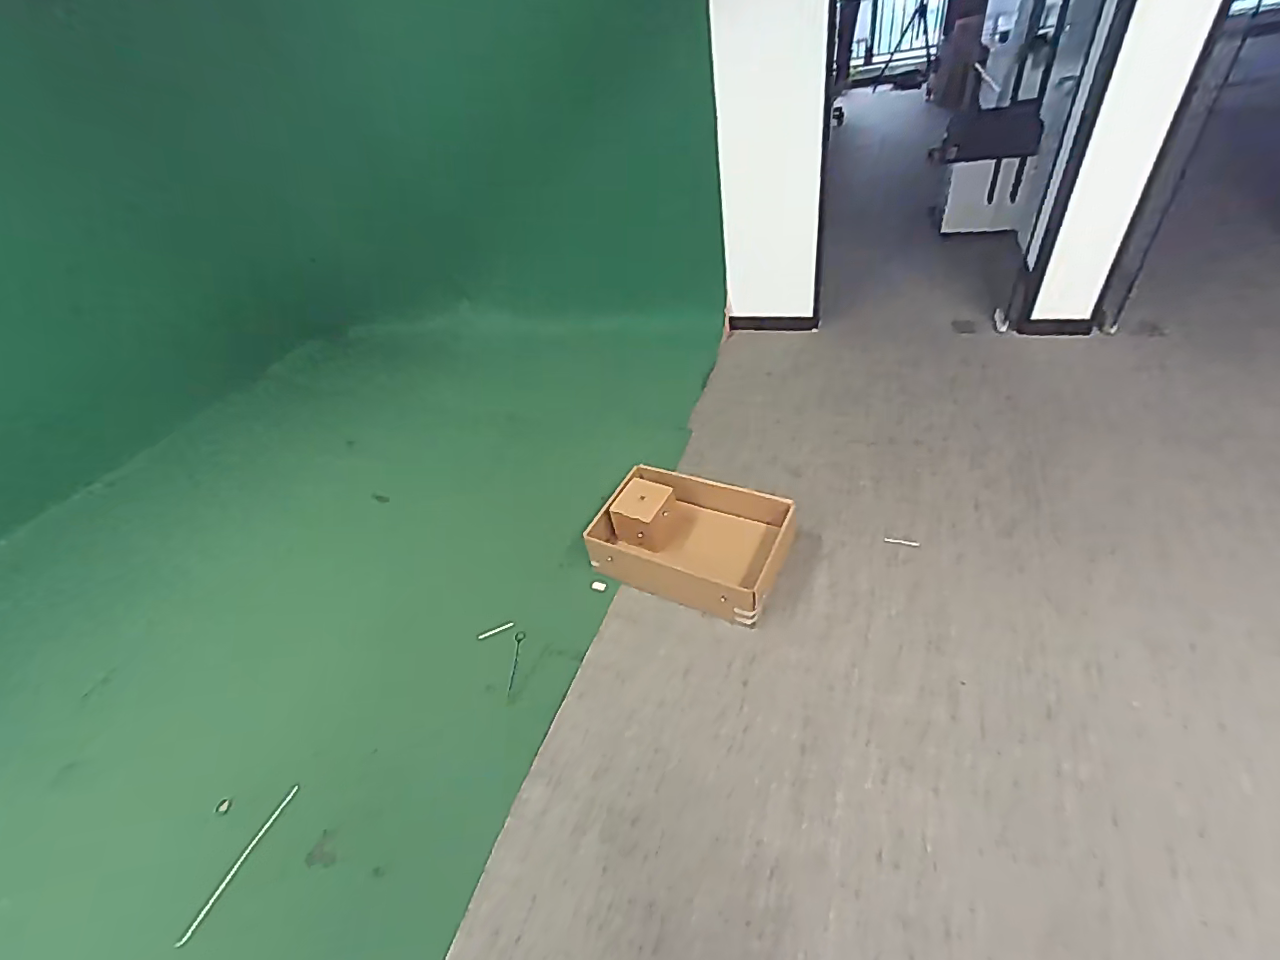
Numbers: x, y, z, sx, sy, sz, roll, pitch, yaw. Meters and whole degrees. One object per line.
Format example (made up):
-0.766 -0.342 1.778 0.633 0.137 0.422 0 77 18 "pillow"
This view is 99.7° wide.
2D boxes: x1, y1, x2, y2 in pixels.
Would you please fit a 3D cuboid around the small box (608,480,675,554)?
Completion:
0.013 0.134 1.926 0.168 0.176 0.179 17 49 27 "small box"
